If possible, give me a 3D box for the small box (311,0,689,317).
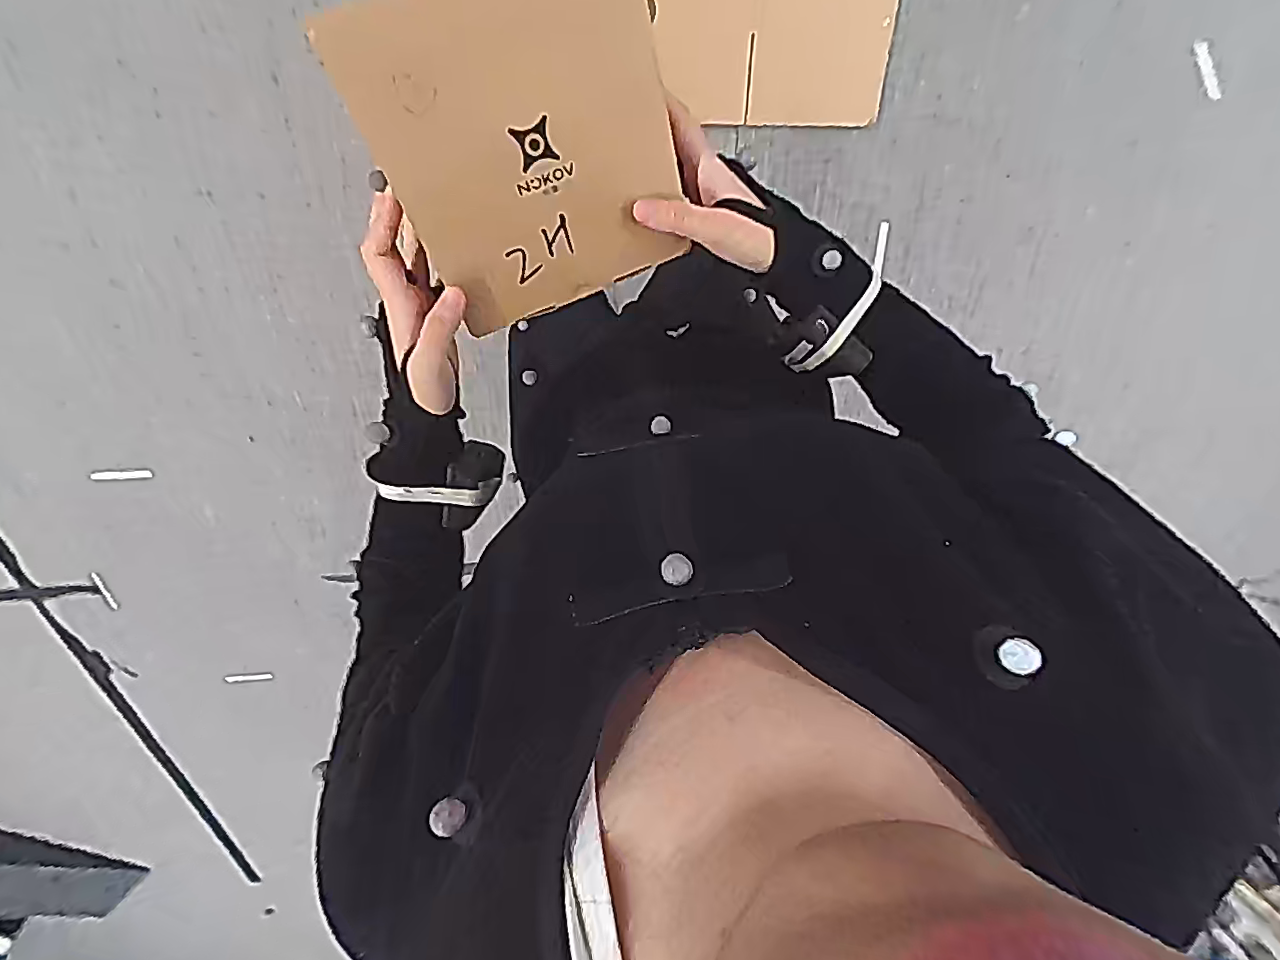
[{"bbox_3d":[-0.085,-0.244,0.360,0.168,0.176,0.179,-22,135,-4],"label":"small box"}]
